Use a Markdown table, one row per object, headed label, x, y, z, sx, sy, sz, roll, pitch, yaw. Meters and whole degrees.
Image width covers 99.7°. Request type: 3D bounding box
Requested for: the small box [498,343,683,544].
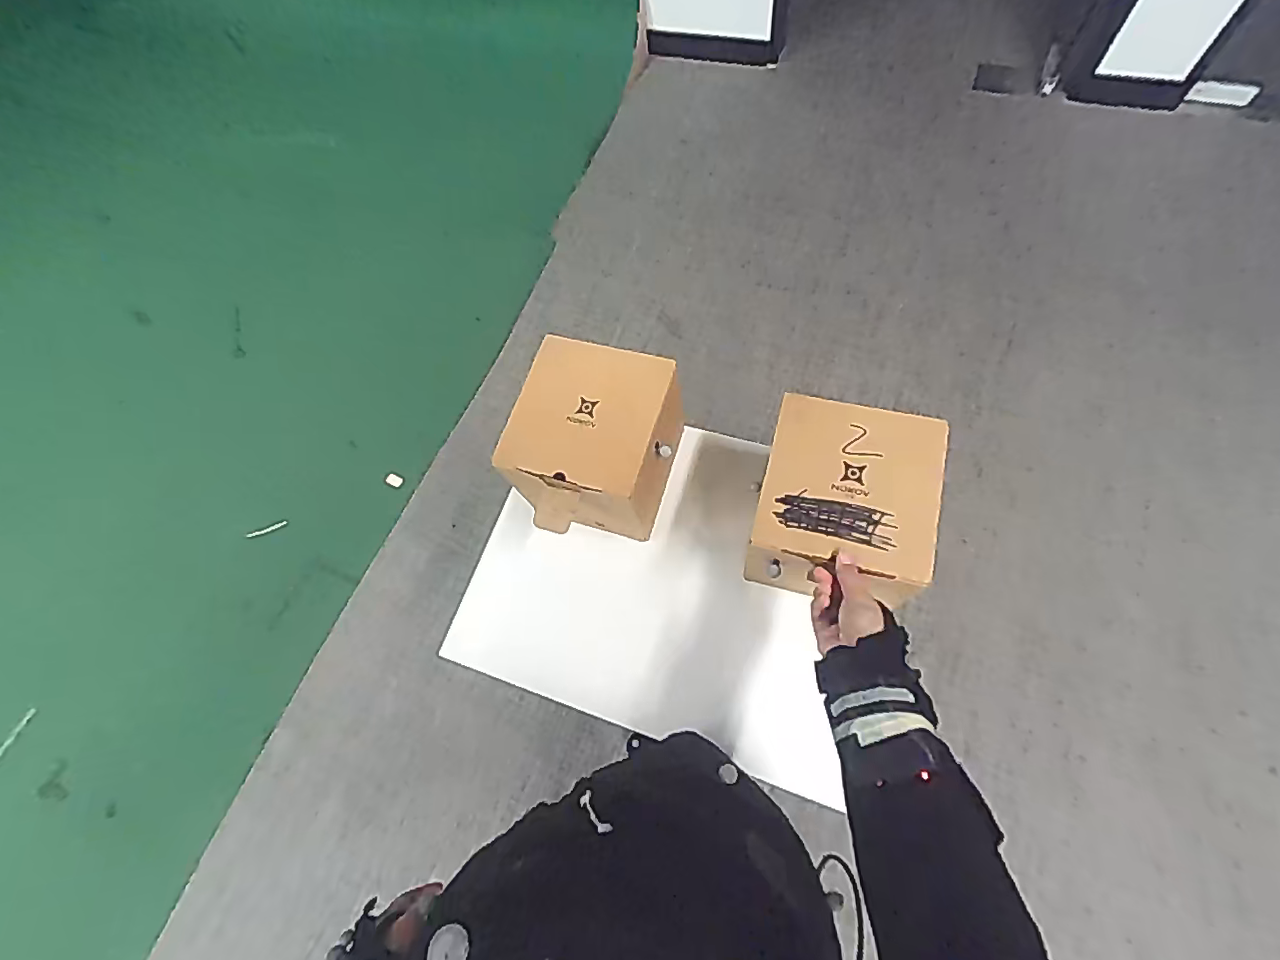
| label | x | y | z | sx | sy | sz | roll | pitch | yaw |
| --- | --- | --- | --- | --- | --- | --- | --- | --- | --- |
| small box | -0.047 | -0.039 | 0.677 | 0.168 | 0.176 | 0.179 | 15 | 72 | 13 |
